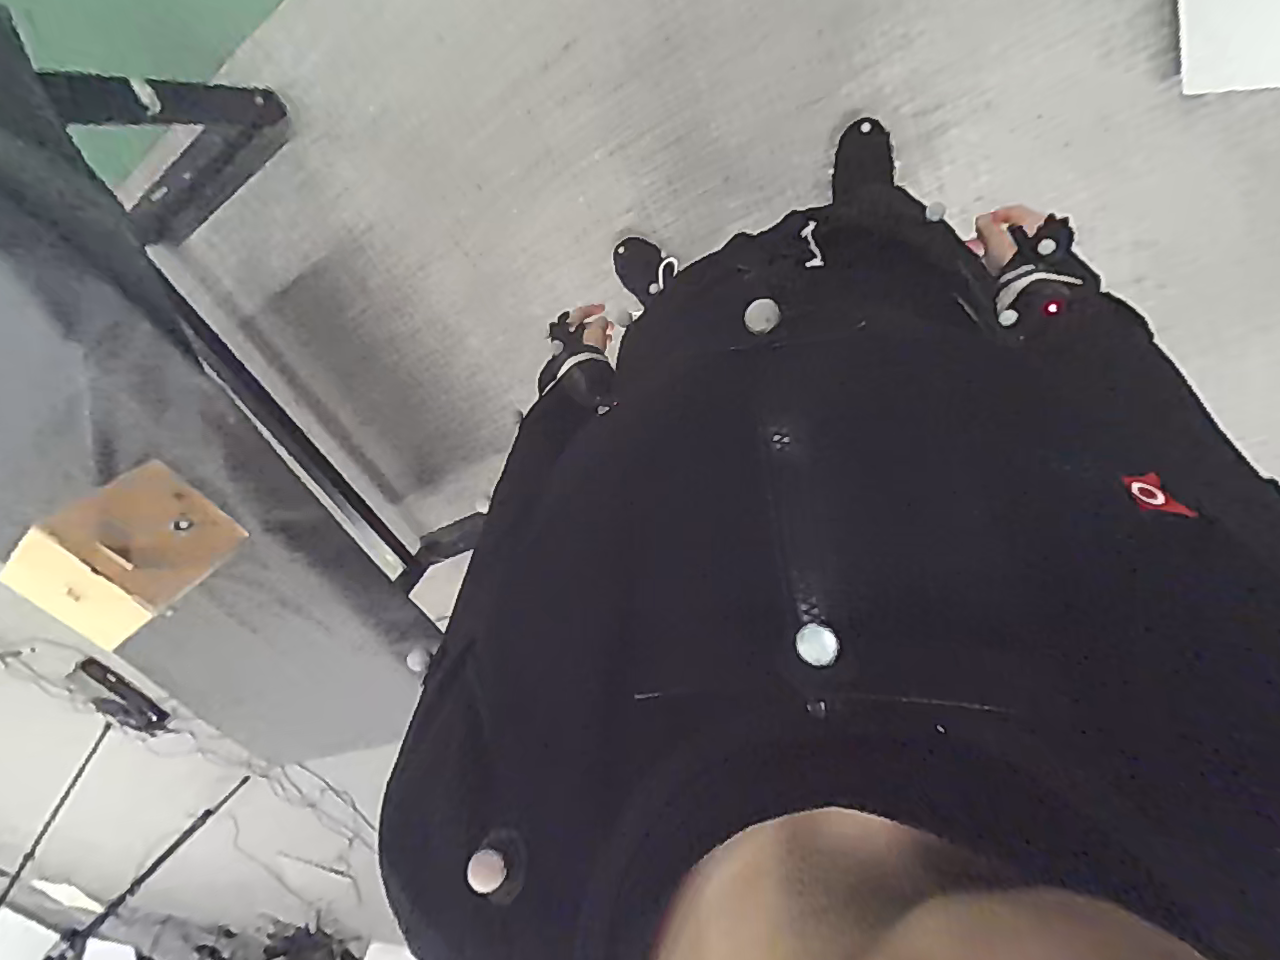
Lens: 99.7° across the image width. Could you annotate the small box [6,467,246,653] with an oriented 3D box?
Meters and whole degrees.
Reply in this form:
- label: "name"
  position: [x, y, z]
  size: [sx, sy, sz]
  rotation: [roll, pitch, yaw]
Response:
- label: "small box"
  position: [-0.730, 0.113, 0.786]
  size: [0.179, 0.176, 0.168]
  rotation: [-30, 112, 27]
